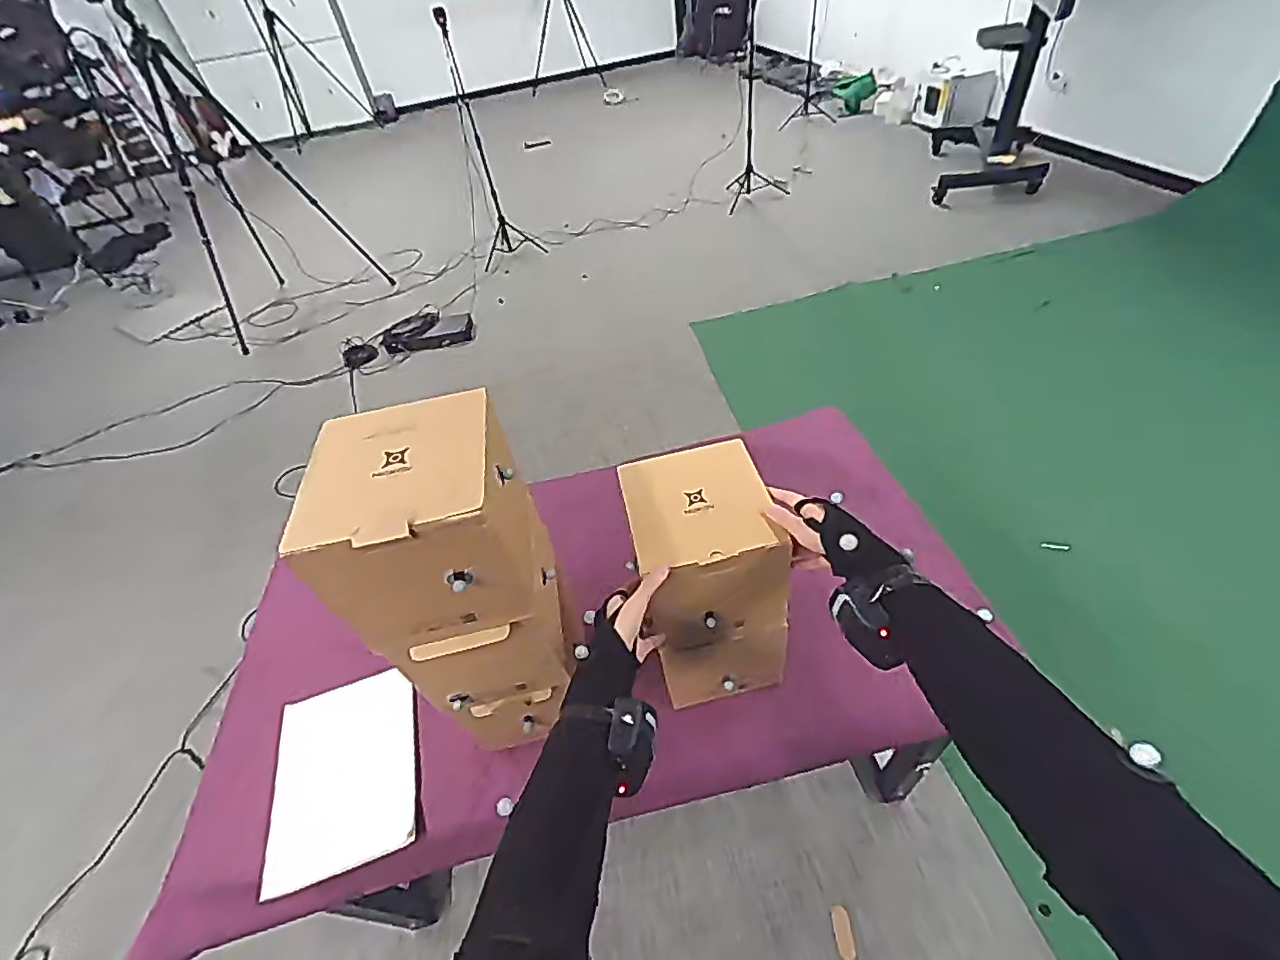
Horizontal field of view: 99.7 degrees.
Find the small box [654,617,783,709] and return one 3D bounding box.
[{"bbox_3d":[0.099,0.204,0.796,0.168,0.176,0.179,-14,44,-2],"label":"small box"}]

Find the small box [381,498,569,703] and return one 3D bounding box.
[{"bbox_3d":[-0.189,0.153,0.666,0.168,0.176,0.179,-13,44,-3],"label":"small box"}]

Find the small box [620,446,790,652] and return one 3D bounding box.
[{"bbox_3d":[0.075,0.087,0.686,0.168,0.176,0.179,-13,45,-3],"label":"small box"}]

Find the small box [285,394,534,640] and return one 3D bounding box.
[{"bbox_3d":[-0.208,0.043,0.547,0.168,0.176,0.179,-12,45,-3],"label":"small box"}]

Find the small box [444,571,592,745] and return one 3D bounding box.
[{"bbox_3d":[-0.170,0.264,0.787,0.168,0.176,0.179,-12,46,-3],"label":"small box"}]
